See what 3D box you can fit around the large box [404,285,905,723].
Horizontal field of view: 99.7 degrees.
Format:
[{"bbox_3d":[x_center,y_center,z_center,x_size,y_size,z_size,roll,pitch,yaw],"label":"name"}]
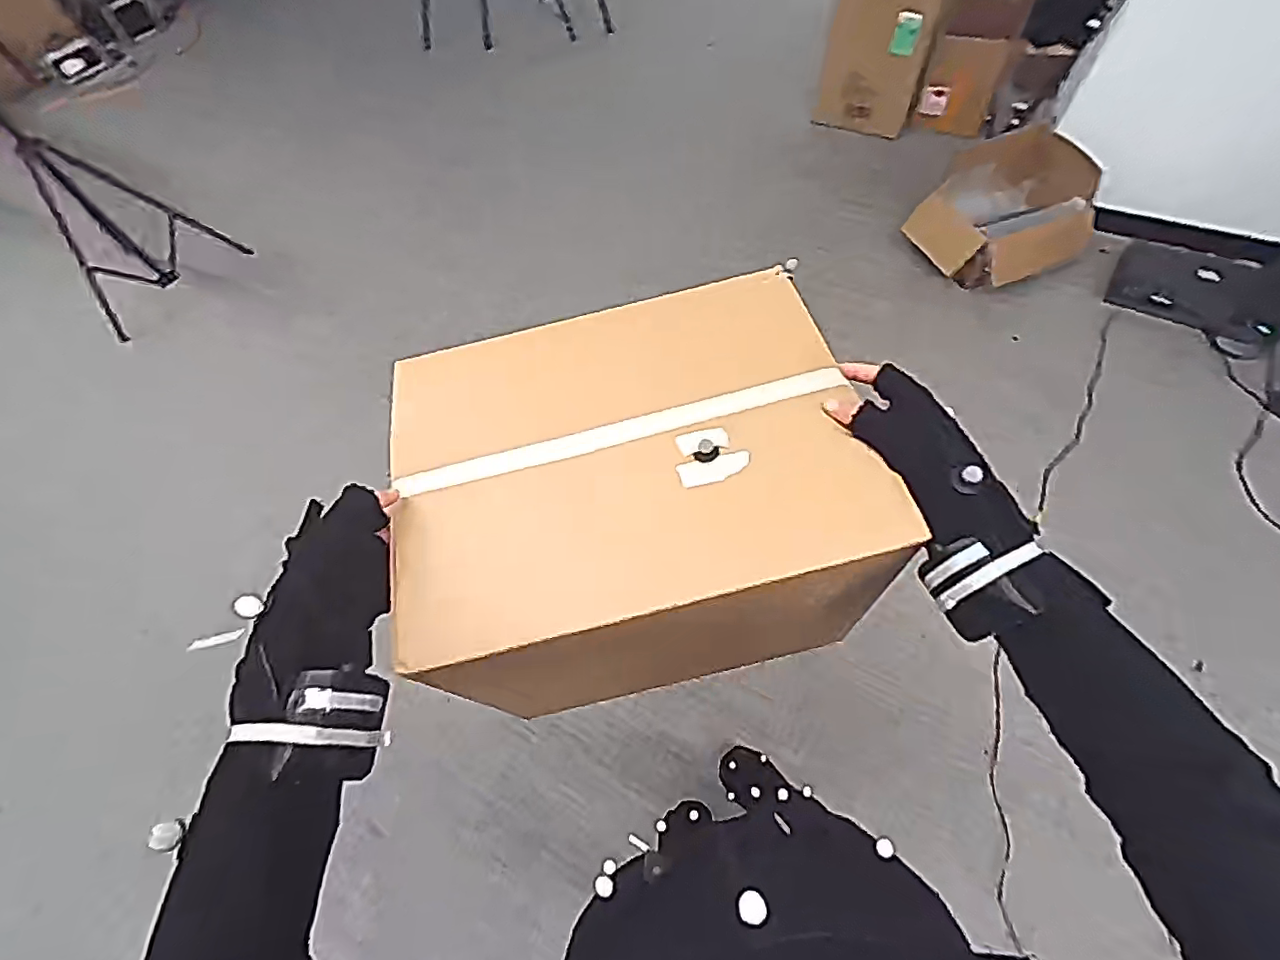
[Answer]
[{"bbox_3d":[-0.002,0.046,0.616,0.408,0.320,0.320,-15,60,-1],"label":"large box"}]
